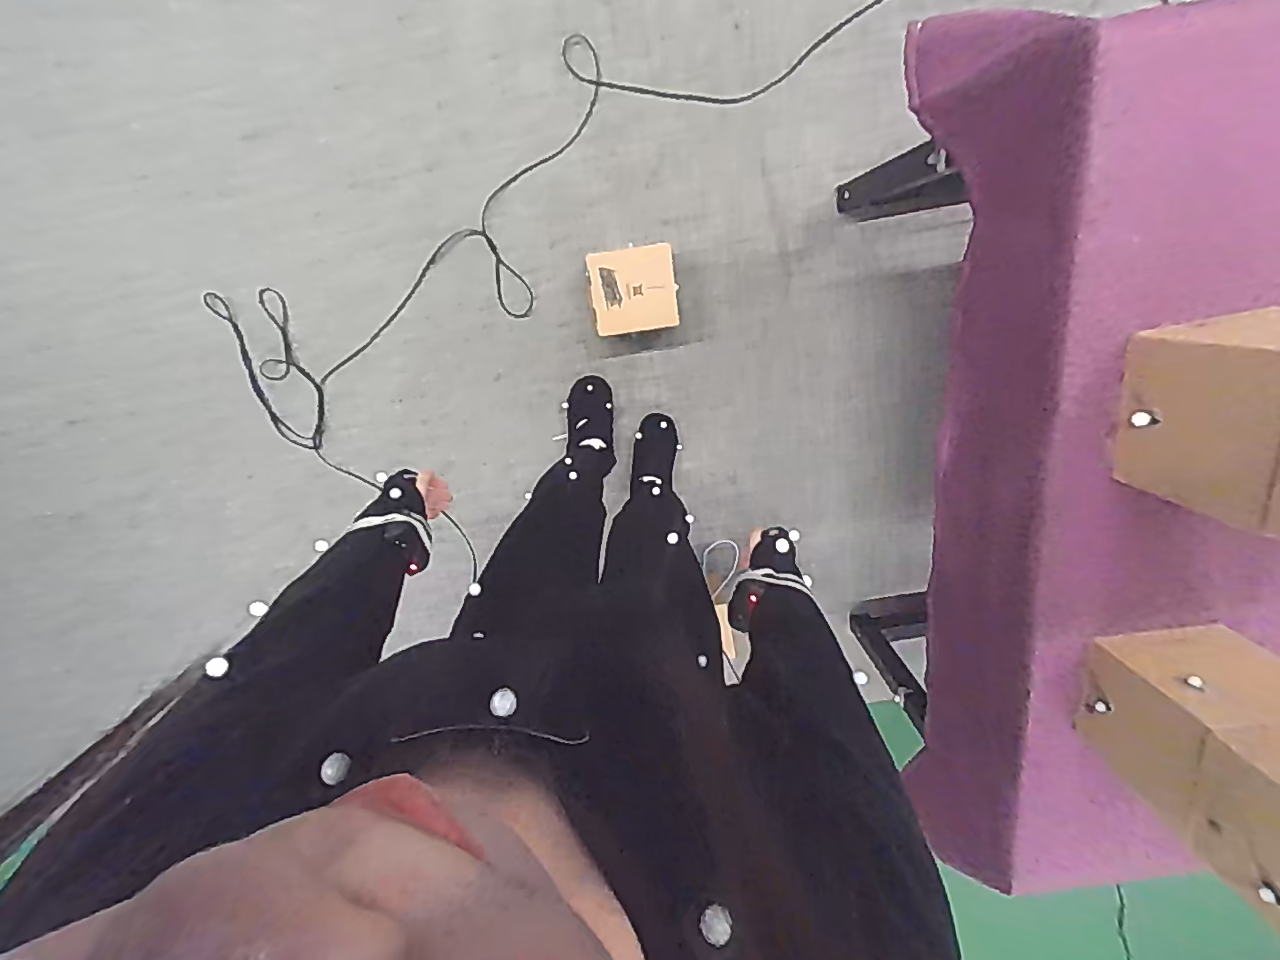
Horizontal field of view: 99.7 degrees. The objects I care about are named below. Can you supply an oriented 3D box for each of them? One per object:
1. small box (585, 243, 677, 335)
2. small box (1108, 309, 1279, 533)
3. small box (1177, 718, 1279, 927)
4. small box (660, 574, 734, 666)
[{"bbox_3d":[-0.019,-0.418,1.190,0.179,0.176,0.168,-8,110,0],"label":"small box"},{"bbox_3d":[0.637,-0.070,0.557,0.168,0.176,0.179,-10,110,1],"label":"small box"},{"bbox_3d":[0.706,0.358,0.538,0.179,0.176,0.168,-9,110,1],"label":"small box"},{"bbox_3d":[0.151,0.373,1.478,0.168,0.176,0.179,-10,110,3],"label":"small box"}]
